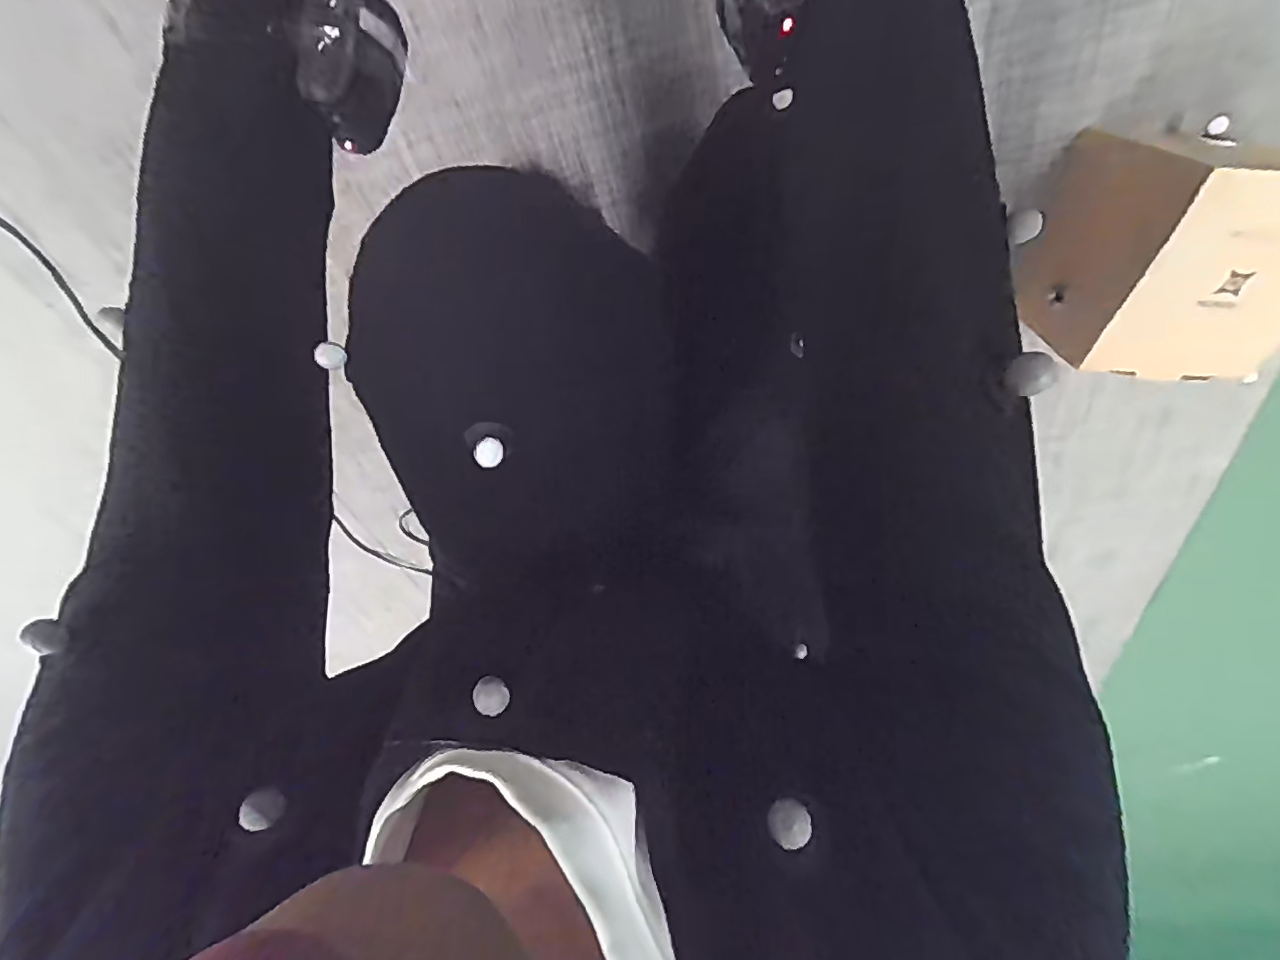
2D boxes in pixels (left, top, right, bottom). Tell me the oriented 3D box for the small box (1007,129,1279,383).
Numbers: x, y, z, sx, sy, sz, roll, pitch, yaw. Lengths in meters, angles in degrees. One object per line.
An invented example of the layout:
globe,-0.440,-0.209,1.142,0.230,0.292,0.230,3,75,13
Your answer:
small box,0.497,-0.214,0.518,0.168,0.176,0.179,3,132,-1
